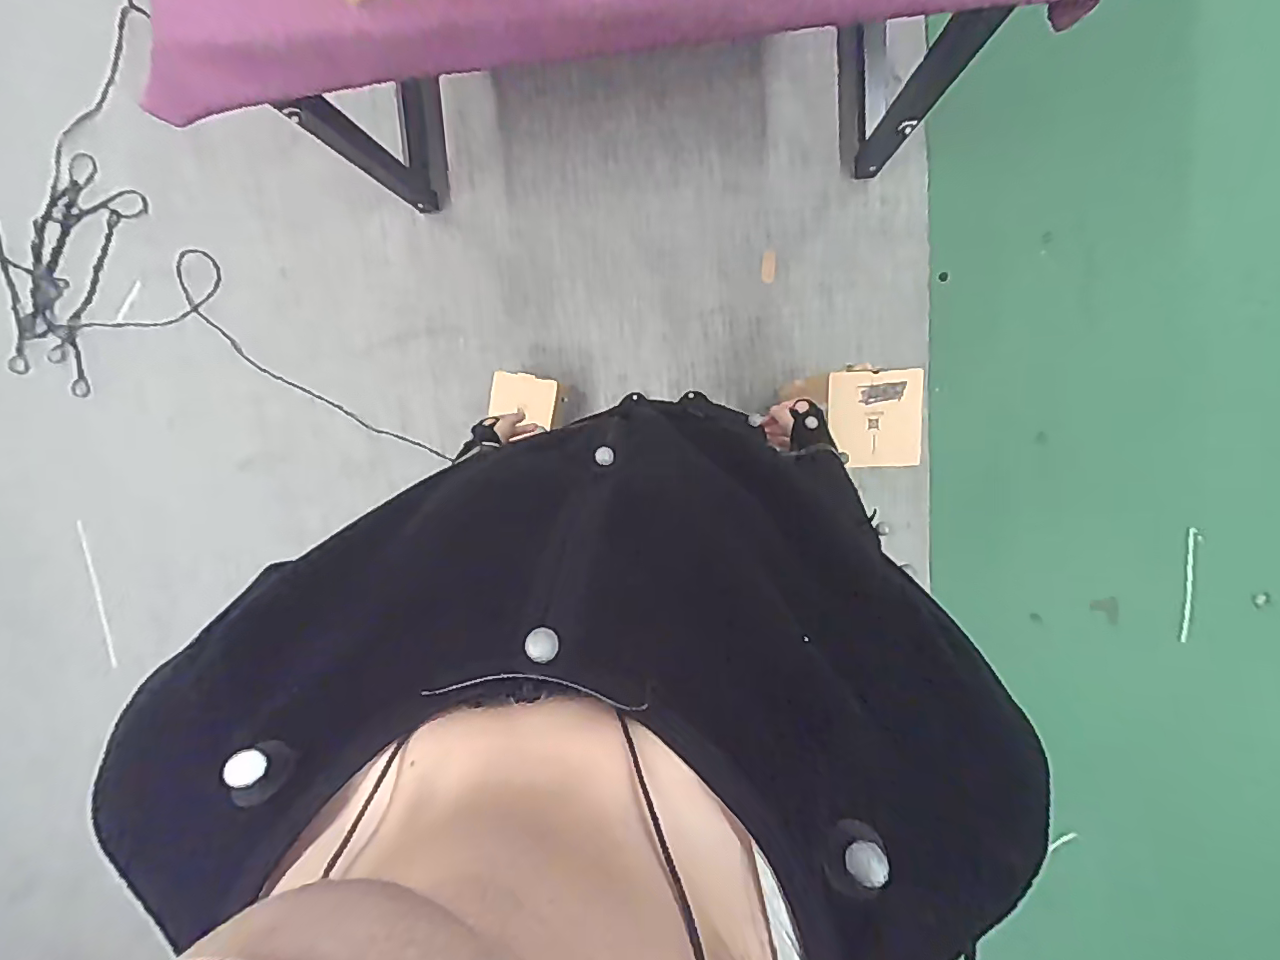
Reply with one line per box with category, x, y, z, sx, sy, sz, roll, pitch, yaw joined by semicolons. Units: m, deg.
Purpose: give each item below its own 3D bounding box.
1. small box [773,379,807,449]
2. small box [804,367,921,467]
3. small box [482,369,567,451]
small box;0.444;-0.161;1.370;0.179;0.176;0.168;7;99;4
small box;0.419;-0.122;1.045;0.168;0.176;0.179;-1;99;4
small box;-0.296;-0.185;1.423;0.168;0.176;0.179;12;100;3
